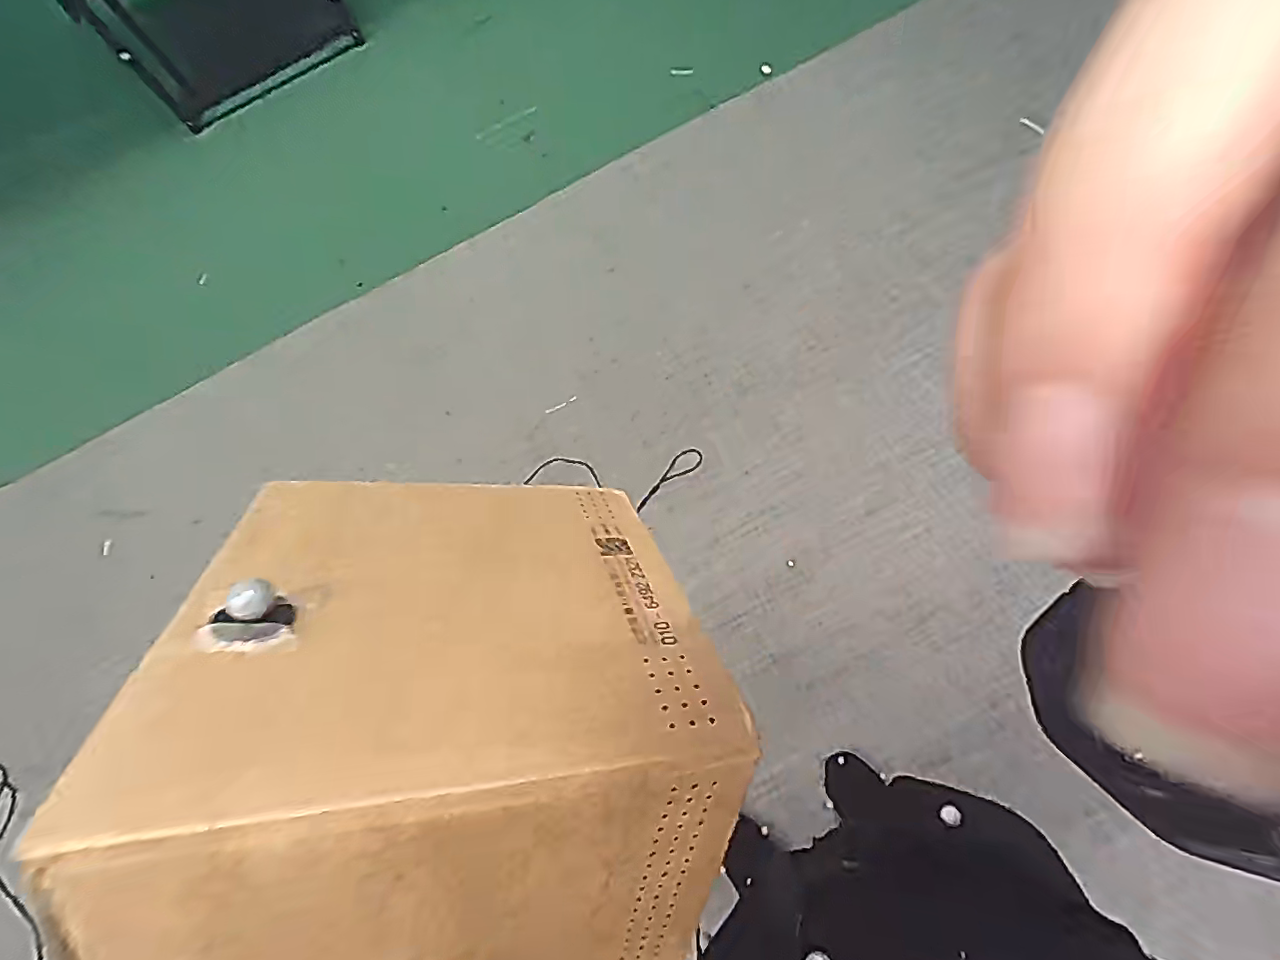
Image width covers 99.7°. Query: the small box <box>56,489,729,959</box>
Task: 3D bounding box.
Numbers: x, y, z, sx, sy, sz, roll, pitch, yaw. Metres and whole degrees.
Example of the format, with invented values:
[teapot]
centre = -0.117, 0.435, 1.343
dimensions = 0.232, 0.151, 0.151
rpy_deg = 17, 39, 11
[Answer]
[small box]
centre = -0.076, 0.118, 0.240
dimensions = 0.176, 0.179, 0.168
rpy_deg = 1, 26, -19
